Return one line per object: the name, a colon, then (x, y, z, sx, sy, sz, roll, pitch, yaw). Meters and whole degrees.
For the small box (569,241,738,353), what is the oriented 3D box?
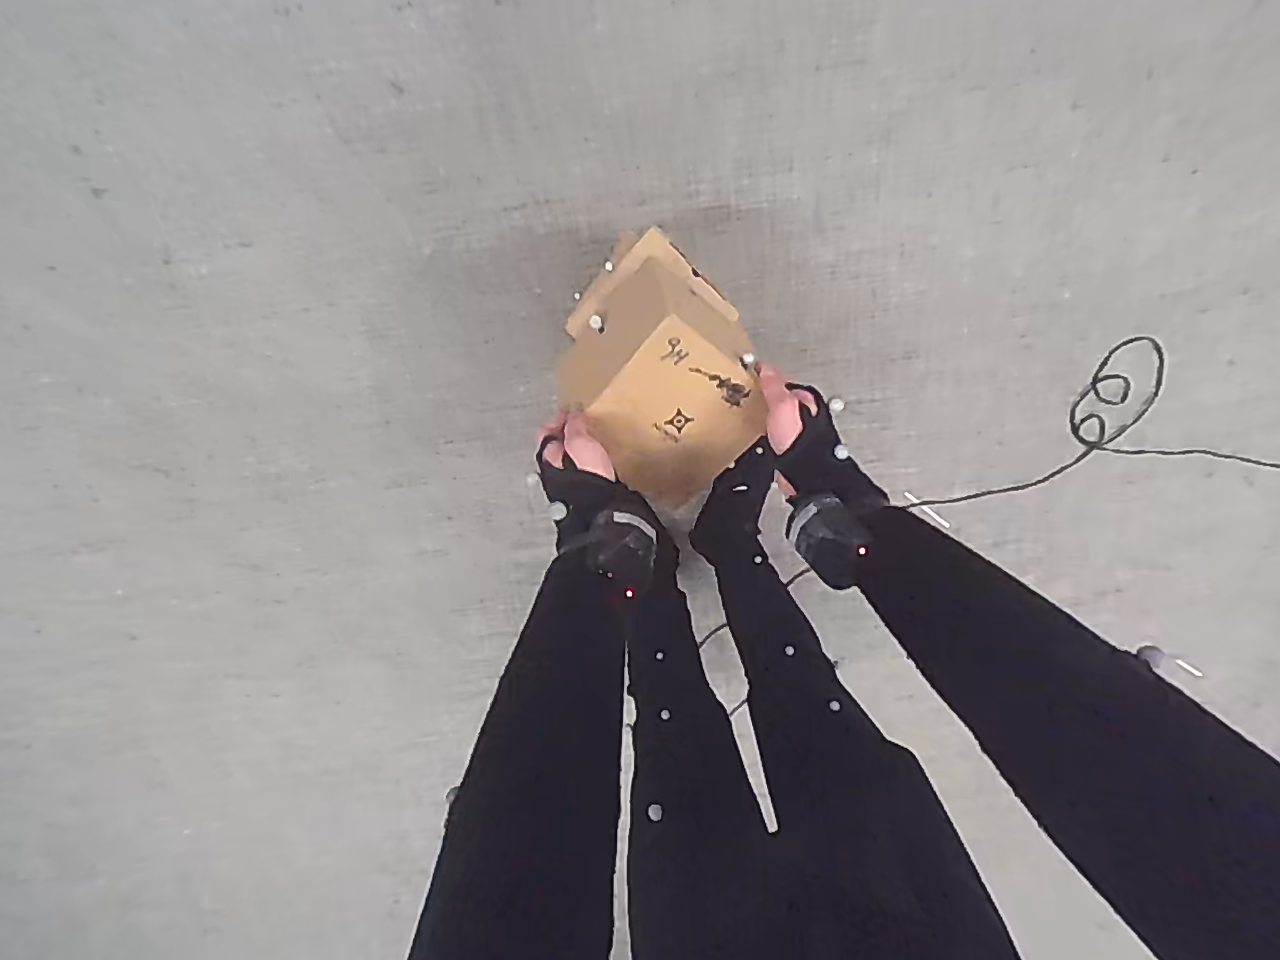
small box: (0.014, -0.224, 0.805, 0.168, 0.176, 0.179, 41, 102, -15)

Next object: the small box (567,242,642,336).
small box: (-0.009, -0.286, 0.956, 0.168, 0.176, 0.179, 33, 102, -13)

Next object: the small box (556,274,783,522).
small box: (0.025, -0.092, 0.608, 0.168, 0.176, 0.179, 31, 120, -28)
